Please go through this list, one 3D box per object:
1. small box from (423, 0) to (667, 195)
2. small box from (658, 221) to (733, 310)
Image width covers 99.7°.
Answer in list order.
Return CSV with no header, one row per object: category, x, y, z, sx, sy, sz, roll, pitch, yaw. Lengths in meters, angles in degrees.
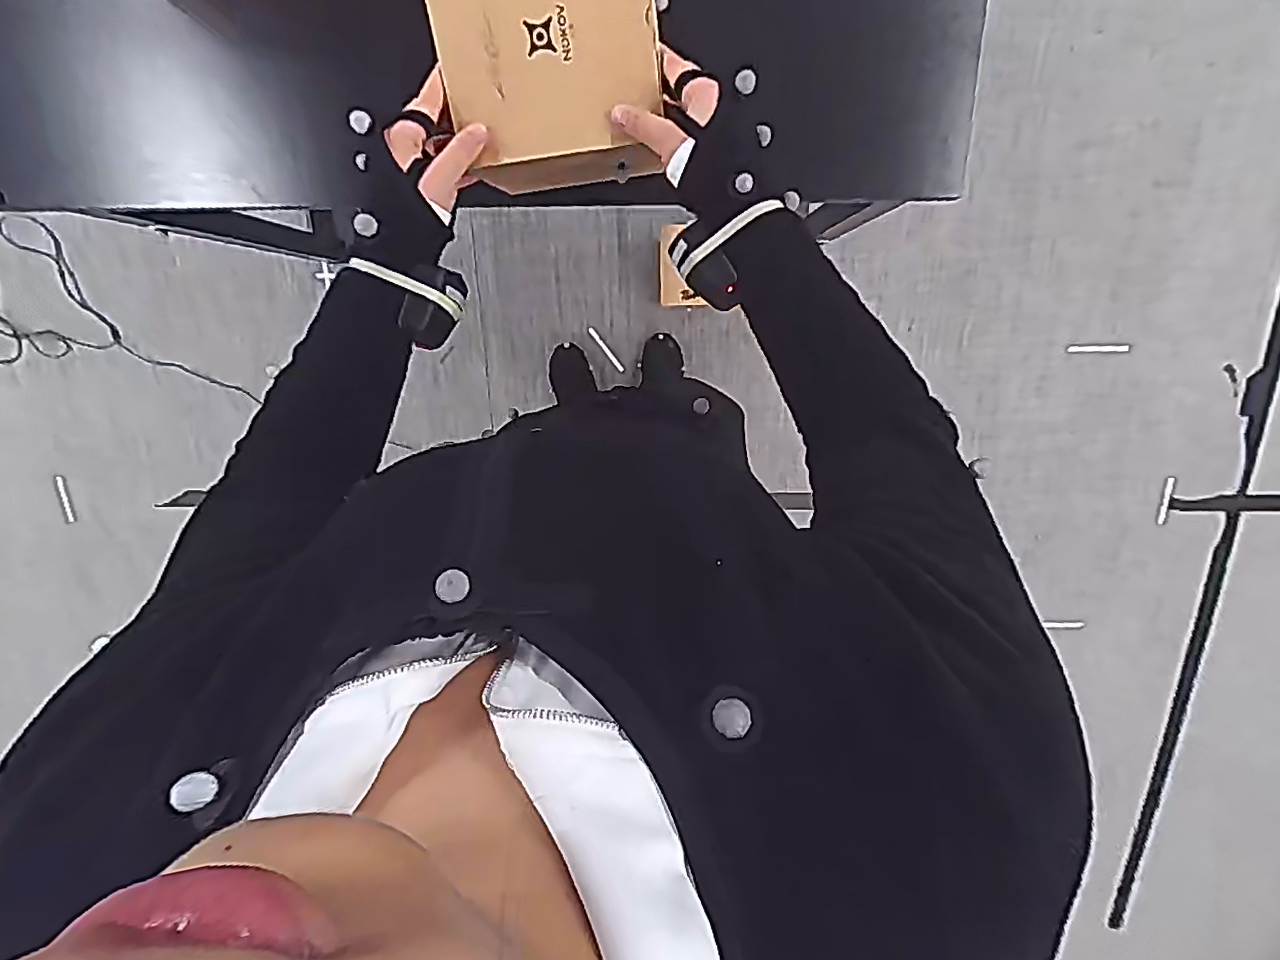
small box,-0.073,-0.372,0.492,0.179,0.176,0.168,-7,110,5
small box,0.126,-0.503,1.286,0.168,0.176,0.179,-1,105,2
